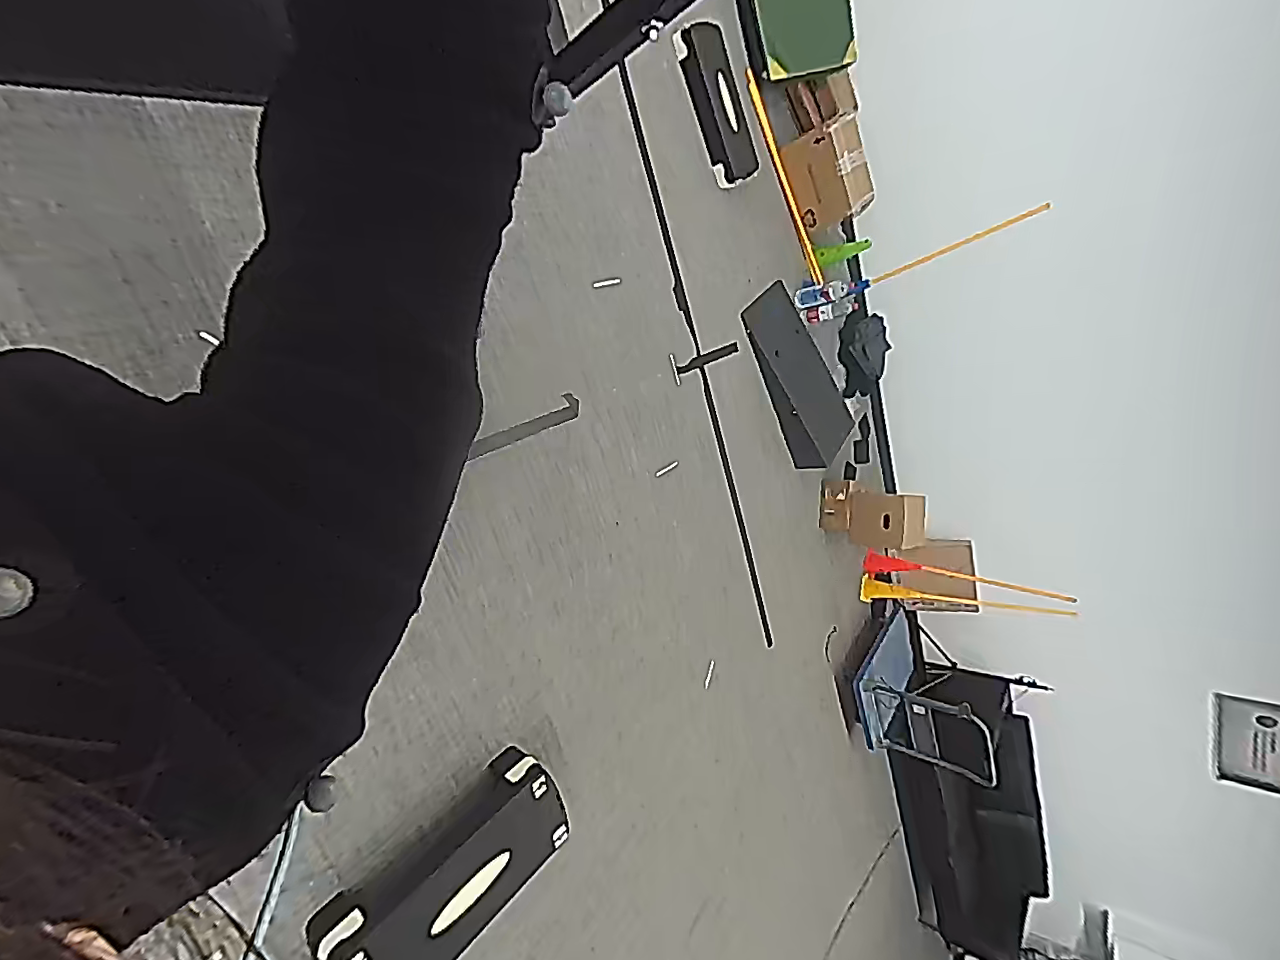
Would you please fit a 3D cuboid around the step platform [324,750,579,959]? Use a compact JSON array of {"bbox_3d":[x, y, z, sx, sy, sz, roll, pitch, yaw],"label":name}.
[{"bbox_3d":[-0.487,1.107,1.543,0.684,0.204,0.286,-24,106,-44],"label":"step platform"}]
